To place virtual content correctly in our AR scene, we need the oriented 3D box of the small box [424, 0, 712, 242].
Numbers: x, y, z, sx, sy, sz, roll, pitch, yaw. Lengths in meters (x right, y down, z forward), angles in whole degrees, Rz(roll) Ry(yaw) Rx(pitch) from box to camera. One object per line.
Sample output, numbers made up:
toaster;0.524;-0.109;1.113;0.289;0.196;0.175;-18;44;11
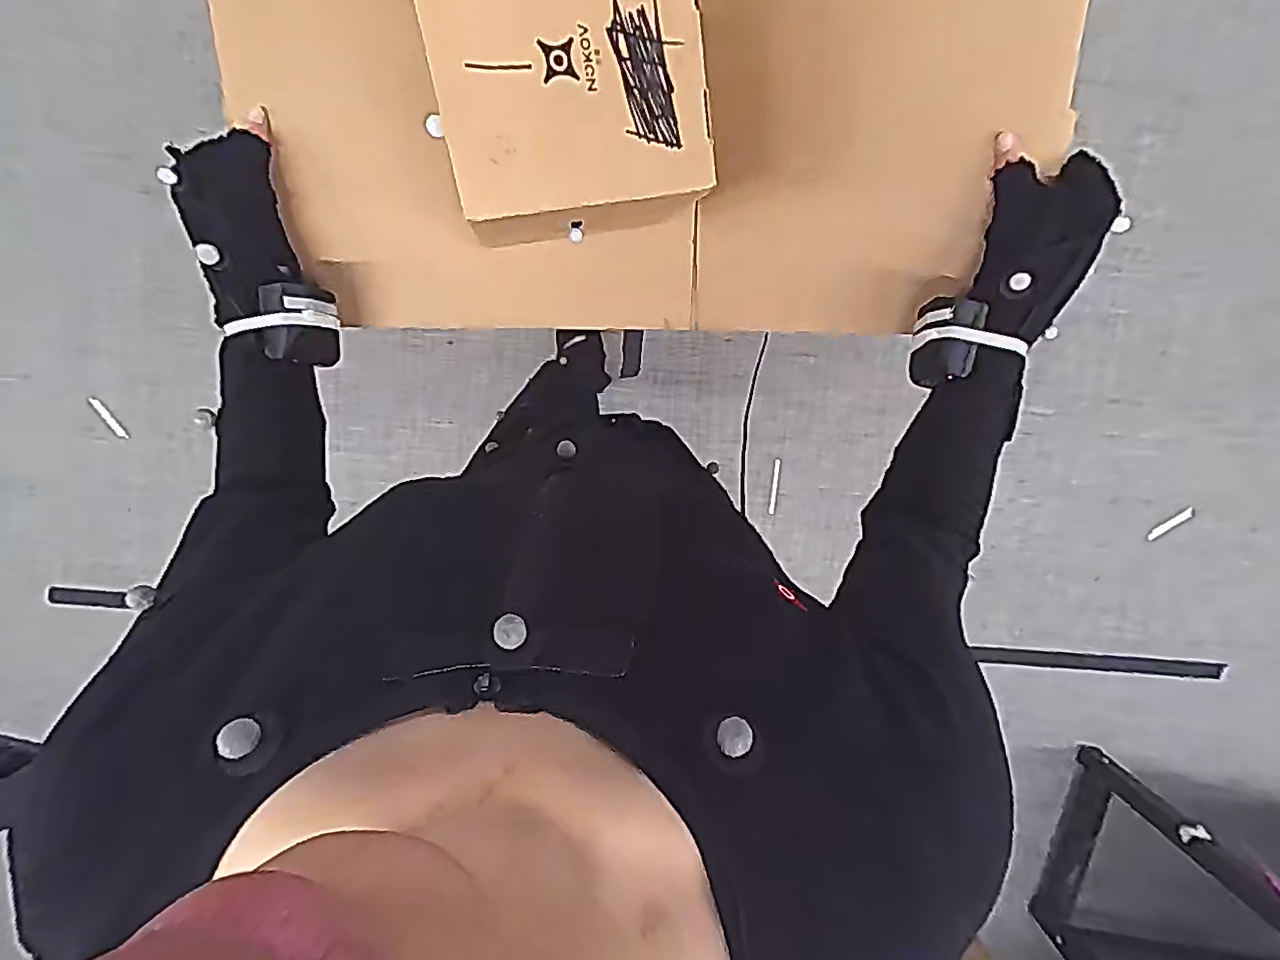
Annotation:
small box;-0.059;-0.293;0.425;0.179;0.176;0.168;-12;109;-9
